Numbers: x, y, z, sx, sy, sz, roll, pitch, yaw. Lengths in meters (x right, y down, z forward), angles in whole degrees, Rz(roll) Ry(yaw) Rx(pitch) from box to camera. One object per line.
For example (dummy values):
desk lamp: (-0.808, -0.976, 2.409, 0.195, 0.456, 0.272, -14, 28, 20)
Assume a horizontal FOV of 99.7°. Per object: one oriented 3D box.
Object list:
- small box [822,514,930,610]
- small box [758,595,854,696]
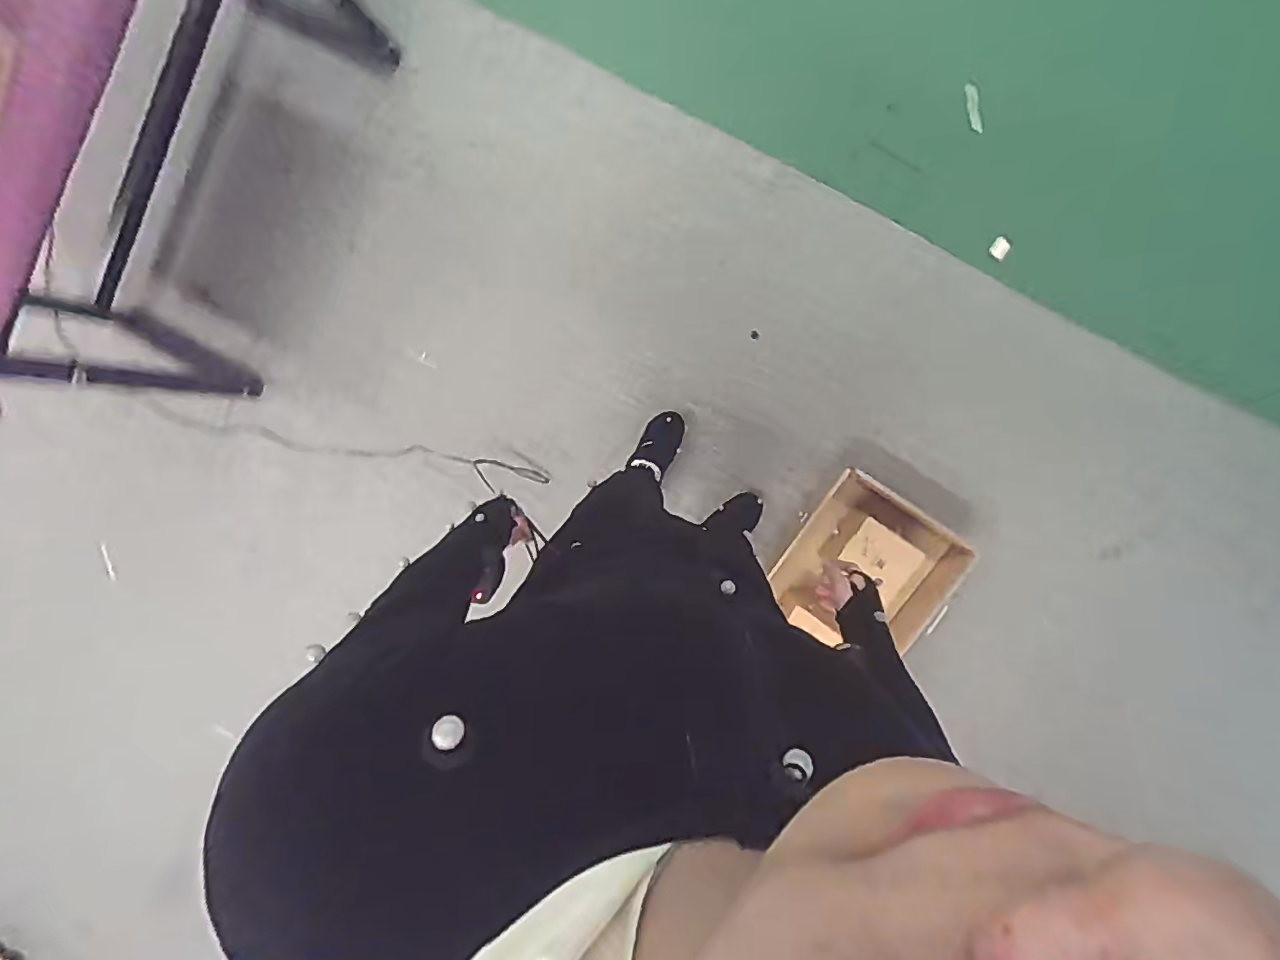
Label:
small box: (0.613, 0.207, 1.429, 0.179, 0.176, 0.168, 36, 98, 3)
small box: (0.443, 0.440, 1.473, 0.179, 0.176, 0.168, 37, 98, 4)
